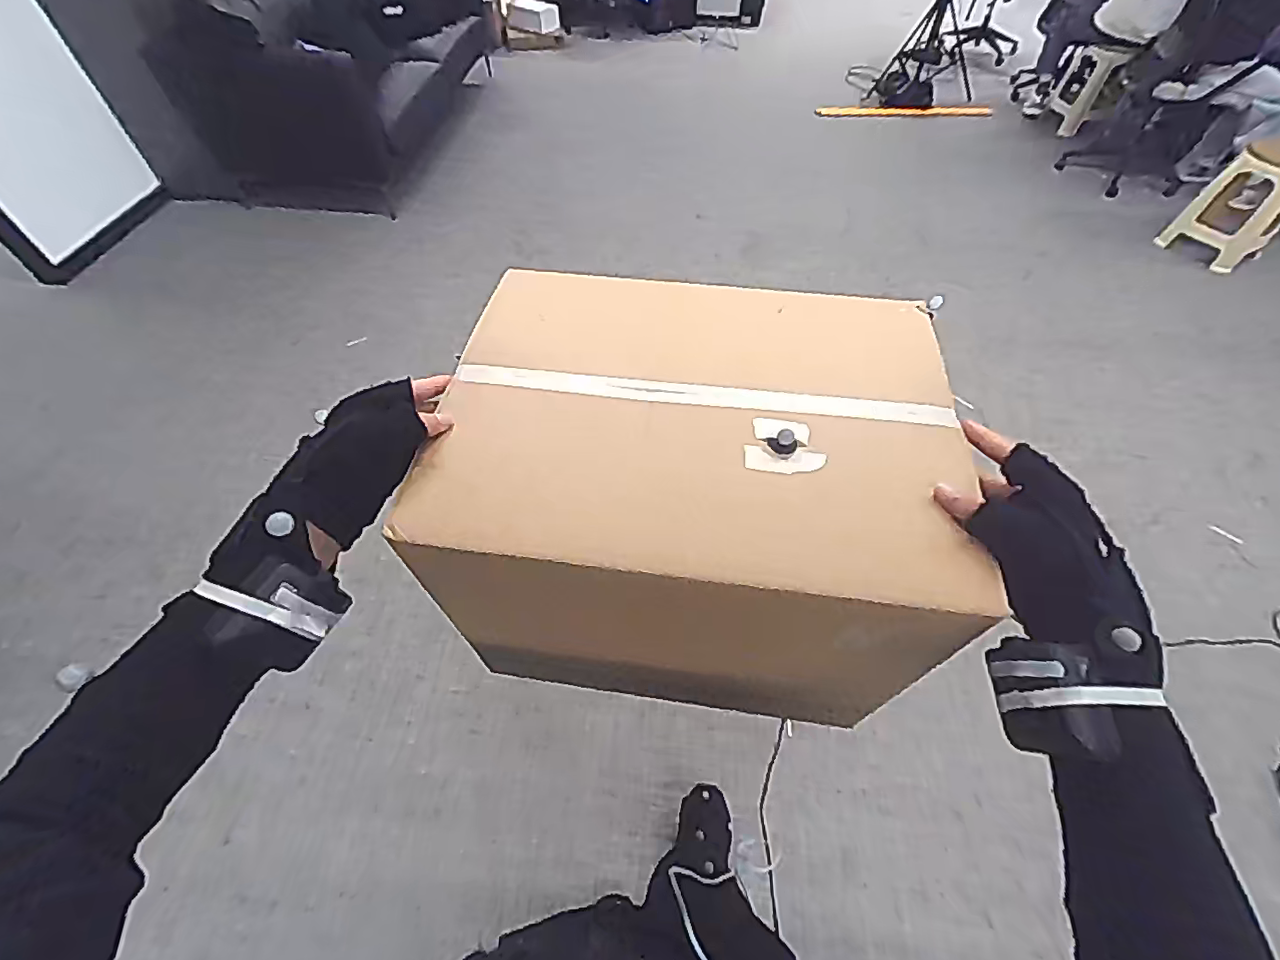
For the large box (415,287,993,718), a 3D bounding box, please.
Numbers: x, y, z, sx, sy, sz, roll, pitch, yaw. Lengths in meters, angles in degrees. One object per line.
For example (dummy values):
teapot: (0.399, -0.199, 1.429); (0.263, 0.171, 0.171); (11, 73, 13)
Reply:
large box: (0.052, 0.031, 0.571); (0.408, 0.320, 0.320); (7, 54, 4)
